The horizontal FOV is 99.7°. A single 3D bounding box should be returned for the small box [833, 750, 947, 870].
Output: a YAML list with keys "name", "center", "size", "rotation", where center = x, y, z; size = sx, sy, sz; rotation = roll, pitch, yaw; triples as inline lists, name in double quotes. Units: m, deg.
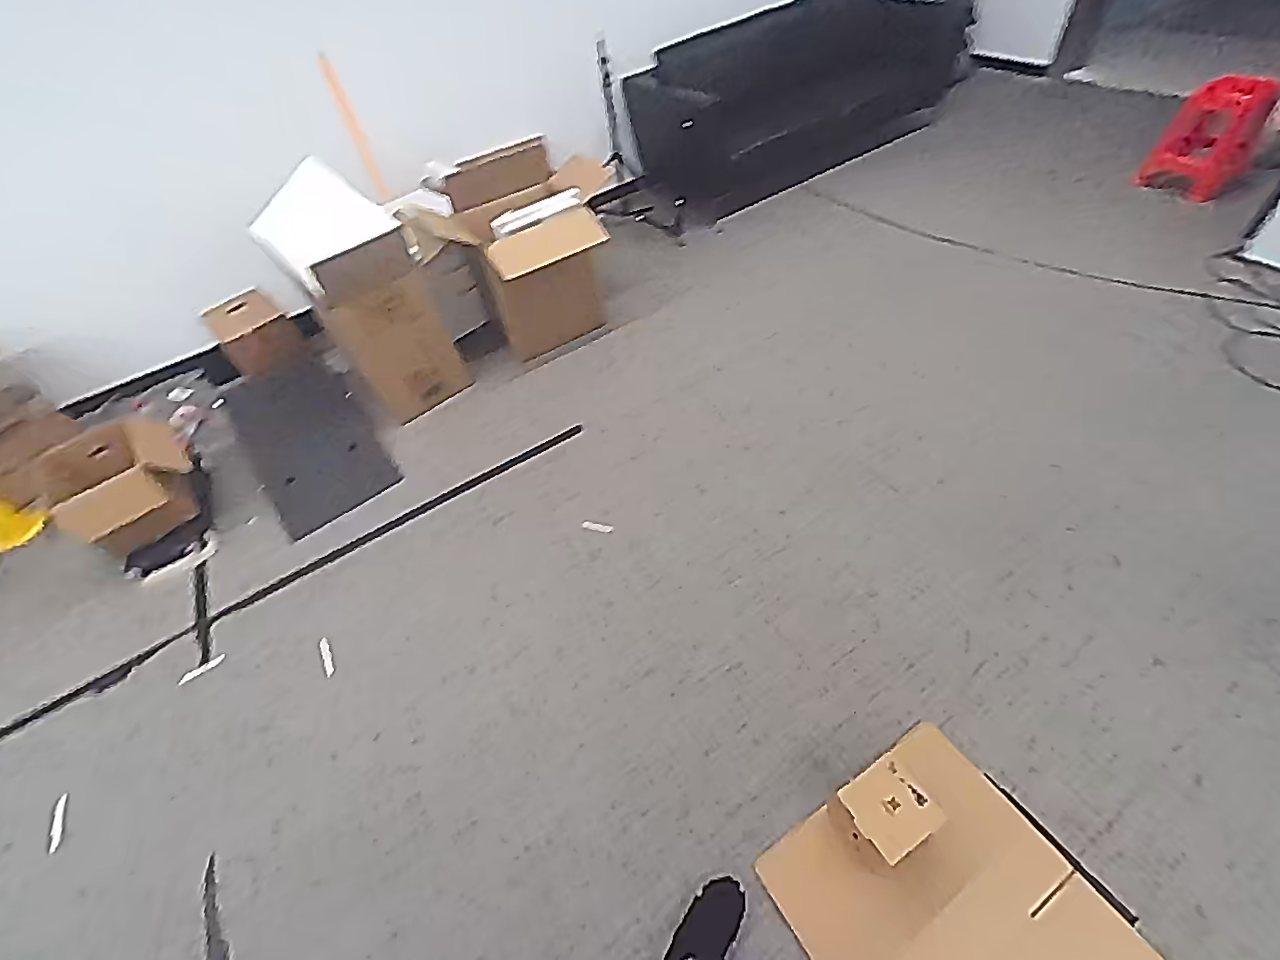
- name: "small box"
  center: [0.572, 0.777, 1.266]
  size: [0.179, 0.176, 0.168]
  rotation: [-28, 51, -13]
